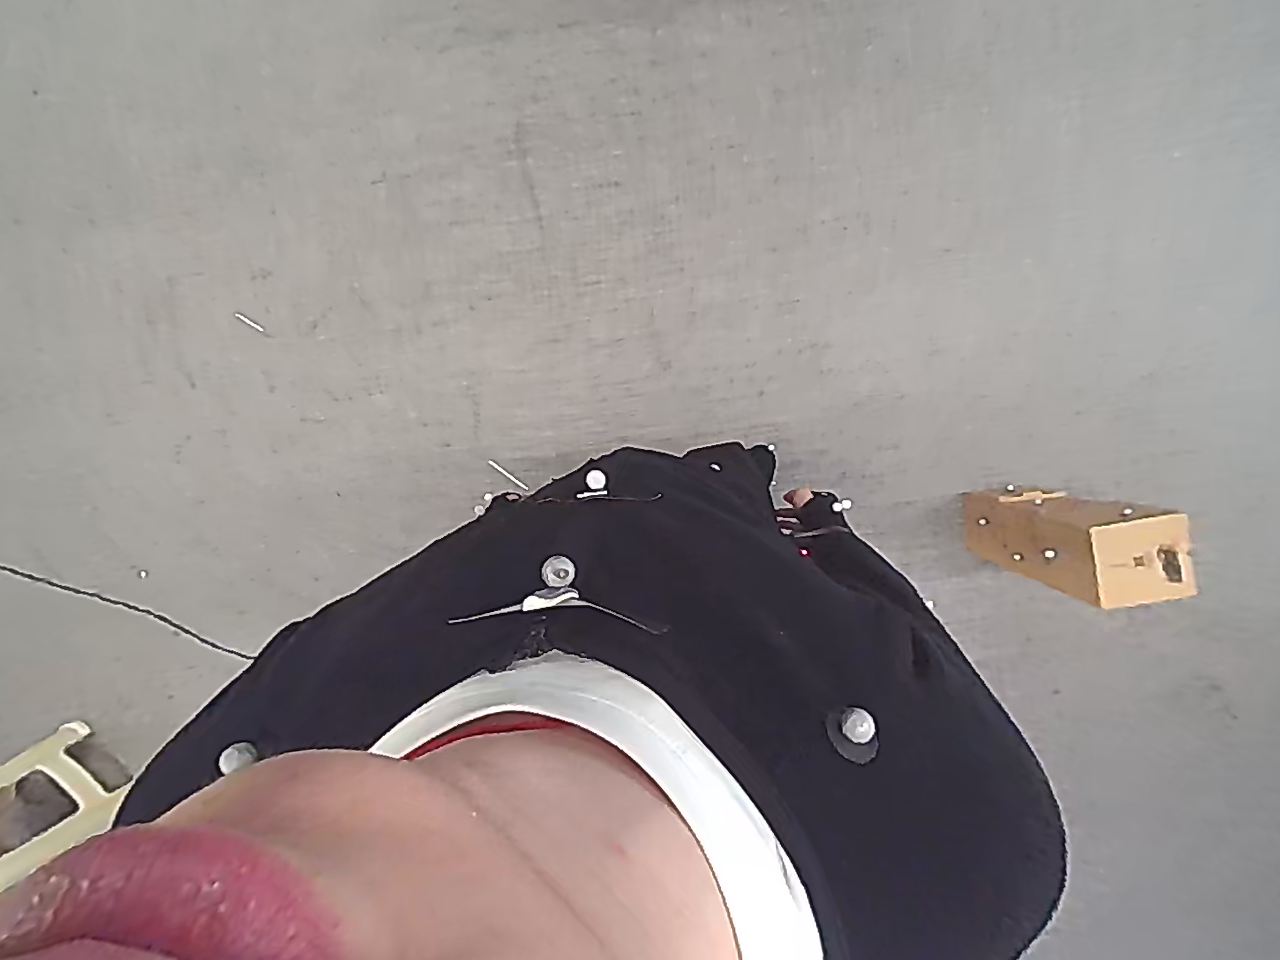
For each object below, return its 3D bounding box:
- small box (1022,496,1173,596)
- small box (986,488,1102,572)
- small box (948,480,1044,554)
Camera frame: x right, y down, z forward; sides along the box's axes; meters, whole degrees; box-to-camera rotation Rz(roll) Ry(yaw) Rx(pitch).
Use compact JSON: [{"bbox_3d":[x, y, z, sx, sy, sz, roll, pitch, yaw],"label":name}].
[{"bbox_3d":[0.952,0.131,1.136,0.179,0.176,0.168,-9,94,2],"label":"small box"},{"bbox_3d":[0.965,0.118,1.302,0.179,0.176,0.168,-7,96,1],"label":"small box"},{"bbox_3d":[0.974,0.096,1.482,0.168,0.176,0.179,-9,95,1],"label":"small box"}]
